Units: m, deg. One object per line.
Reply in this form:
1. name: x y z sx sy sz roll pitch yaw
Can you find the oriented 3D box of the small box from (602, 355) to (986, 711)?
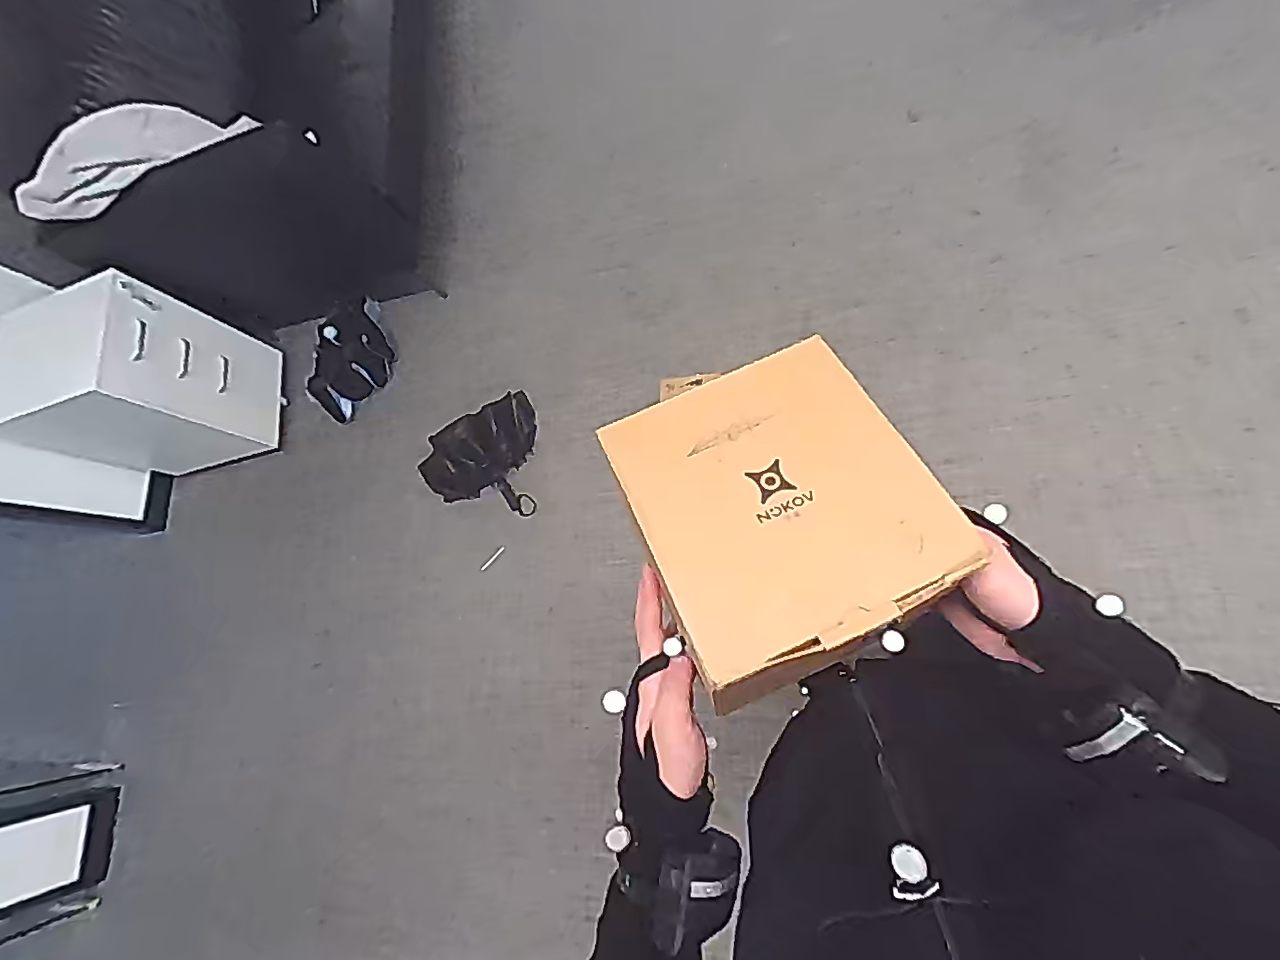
1. small box: 0.092 0.051 0.391 0.168 0.176 0.179 -24 60 -5
